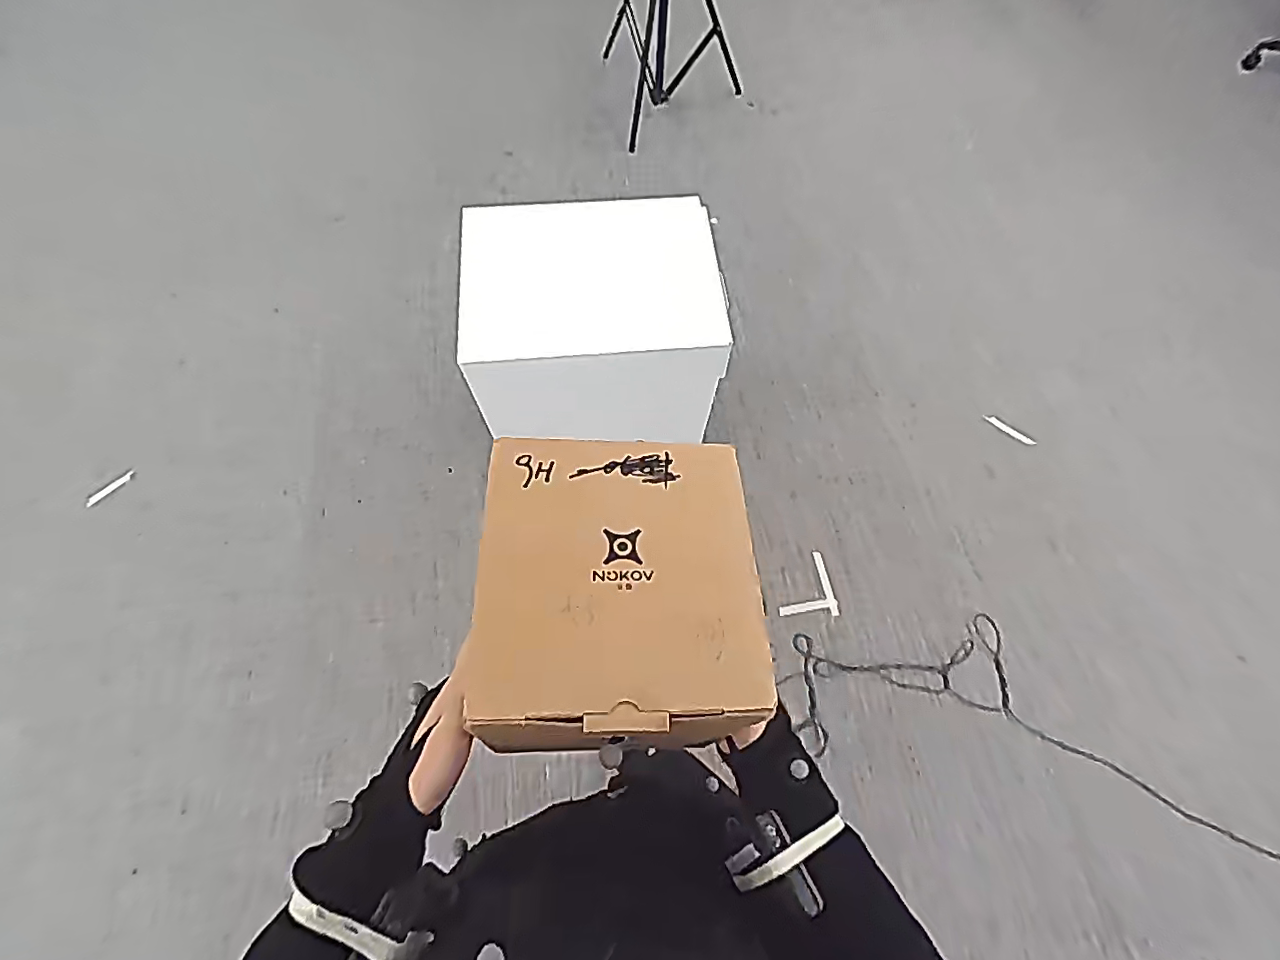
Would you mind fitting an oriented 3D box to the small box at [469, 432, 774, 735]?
[{"bbox_3d":[-0.020,0.085,0.393,0.168,0.176,0.179,2,60,-9],"label":"small box"}]
